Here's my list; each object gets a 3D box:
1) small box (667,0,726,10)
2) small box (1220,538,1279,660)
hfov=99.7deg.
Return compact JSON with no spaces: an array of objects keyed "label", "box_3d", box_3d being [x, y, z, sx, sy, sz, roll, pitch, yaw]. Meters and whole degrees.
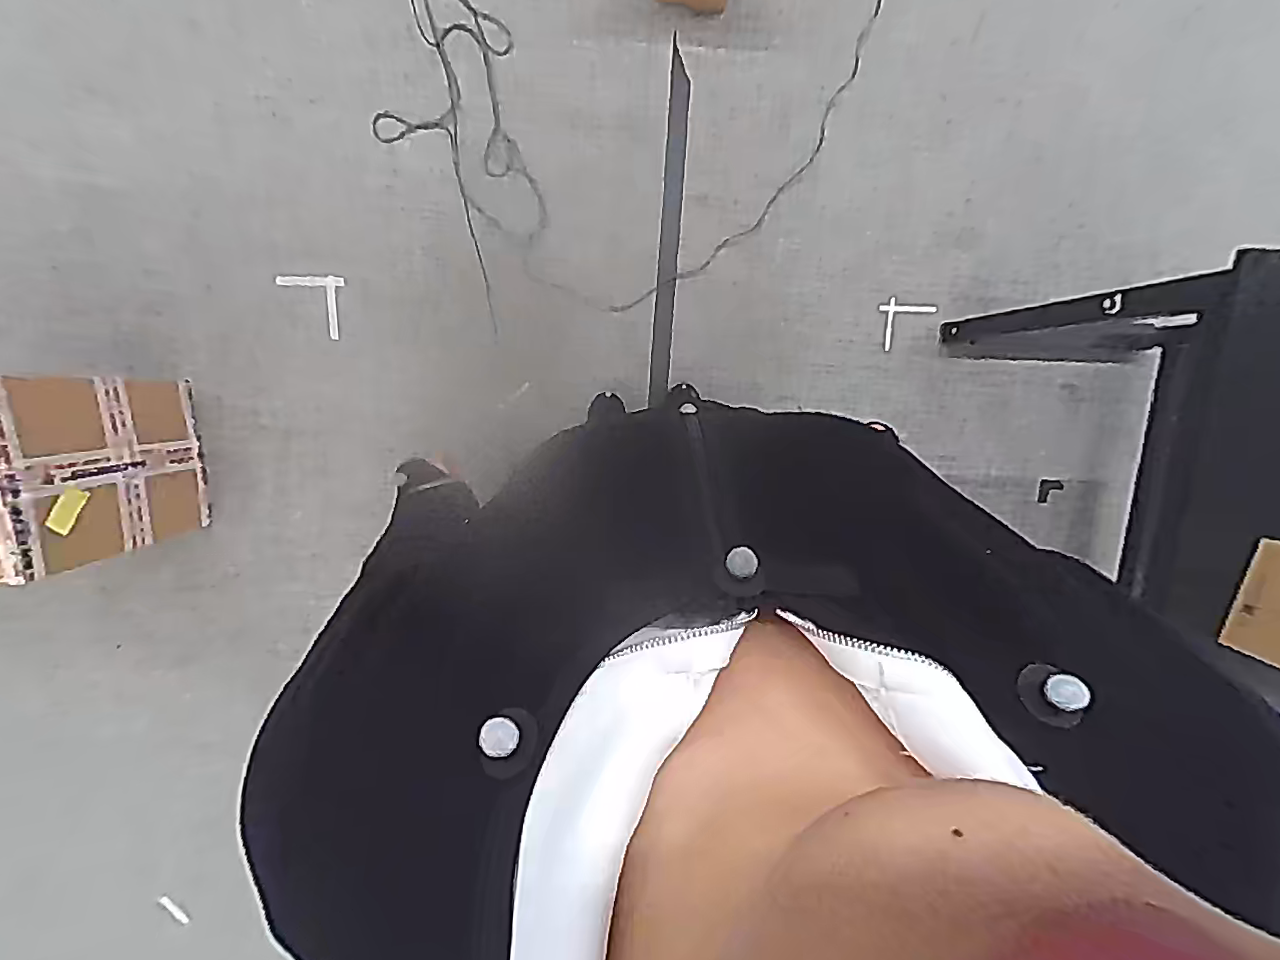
[{"label":"small box","box_3d":[0.130,-1.206,1.209,0.179,0.176,0.168,9,99,-3]},{"label":"small box","box_3d":[0.970,0.188,0.732,0.179,0.176,0.168,13,100,-4]}]
